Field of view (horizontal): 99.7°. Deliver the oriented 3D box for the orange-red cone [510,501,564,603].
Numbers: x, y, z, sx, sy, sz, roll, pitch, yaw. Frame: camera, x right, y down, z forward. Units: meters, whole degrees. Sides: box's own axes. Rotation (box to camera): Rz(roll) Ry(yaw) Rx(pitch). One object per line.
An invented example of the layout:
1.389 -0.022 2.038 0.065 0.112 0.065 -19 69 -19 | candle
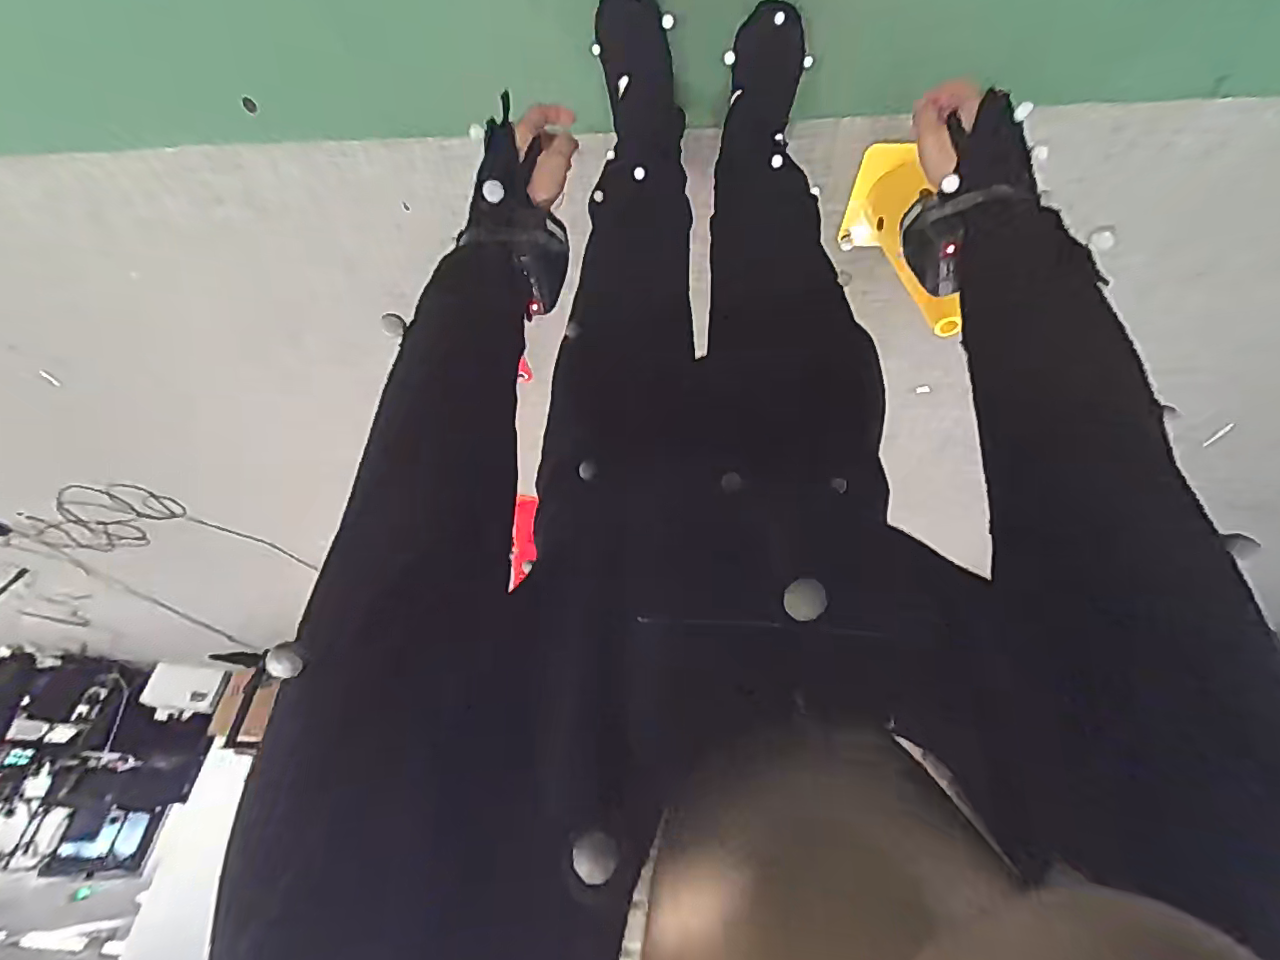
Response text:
-0.423 0.286 2.031 0.199 0.360 0.198 13 145 -10 | orange-red cone
